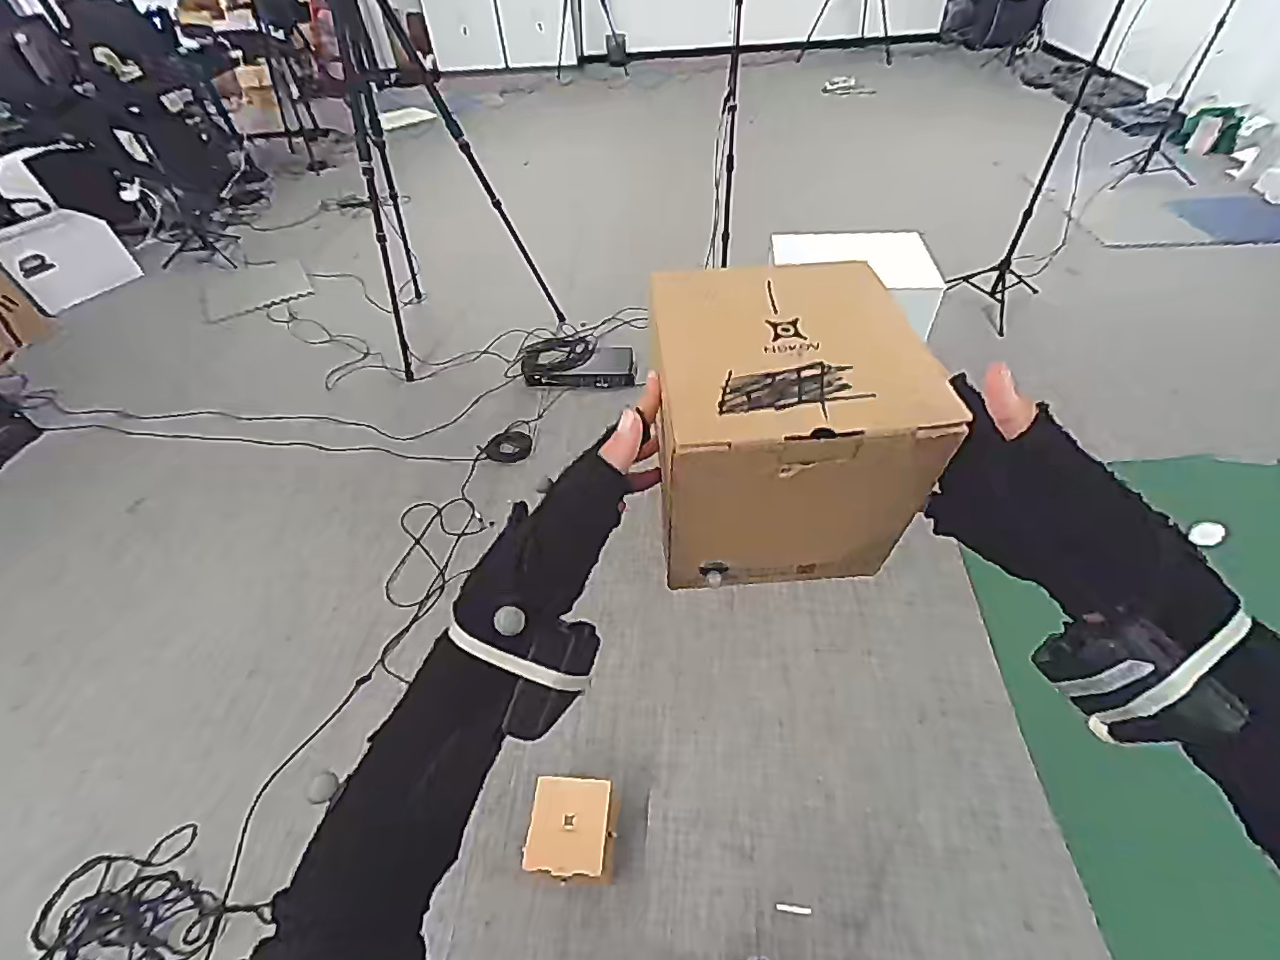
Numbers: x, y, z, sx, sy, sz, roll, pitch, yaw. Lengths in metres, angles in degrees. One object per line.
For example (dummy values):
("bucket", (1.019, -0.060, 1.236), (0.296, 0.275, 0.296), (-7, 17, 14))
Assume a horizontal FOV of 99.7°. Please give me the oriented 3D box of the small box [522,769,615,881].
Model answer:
("small box", (-0.150, 0.769, 1.206), (0.168, 0.176, 0.179), (1, 48, 6))
